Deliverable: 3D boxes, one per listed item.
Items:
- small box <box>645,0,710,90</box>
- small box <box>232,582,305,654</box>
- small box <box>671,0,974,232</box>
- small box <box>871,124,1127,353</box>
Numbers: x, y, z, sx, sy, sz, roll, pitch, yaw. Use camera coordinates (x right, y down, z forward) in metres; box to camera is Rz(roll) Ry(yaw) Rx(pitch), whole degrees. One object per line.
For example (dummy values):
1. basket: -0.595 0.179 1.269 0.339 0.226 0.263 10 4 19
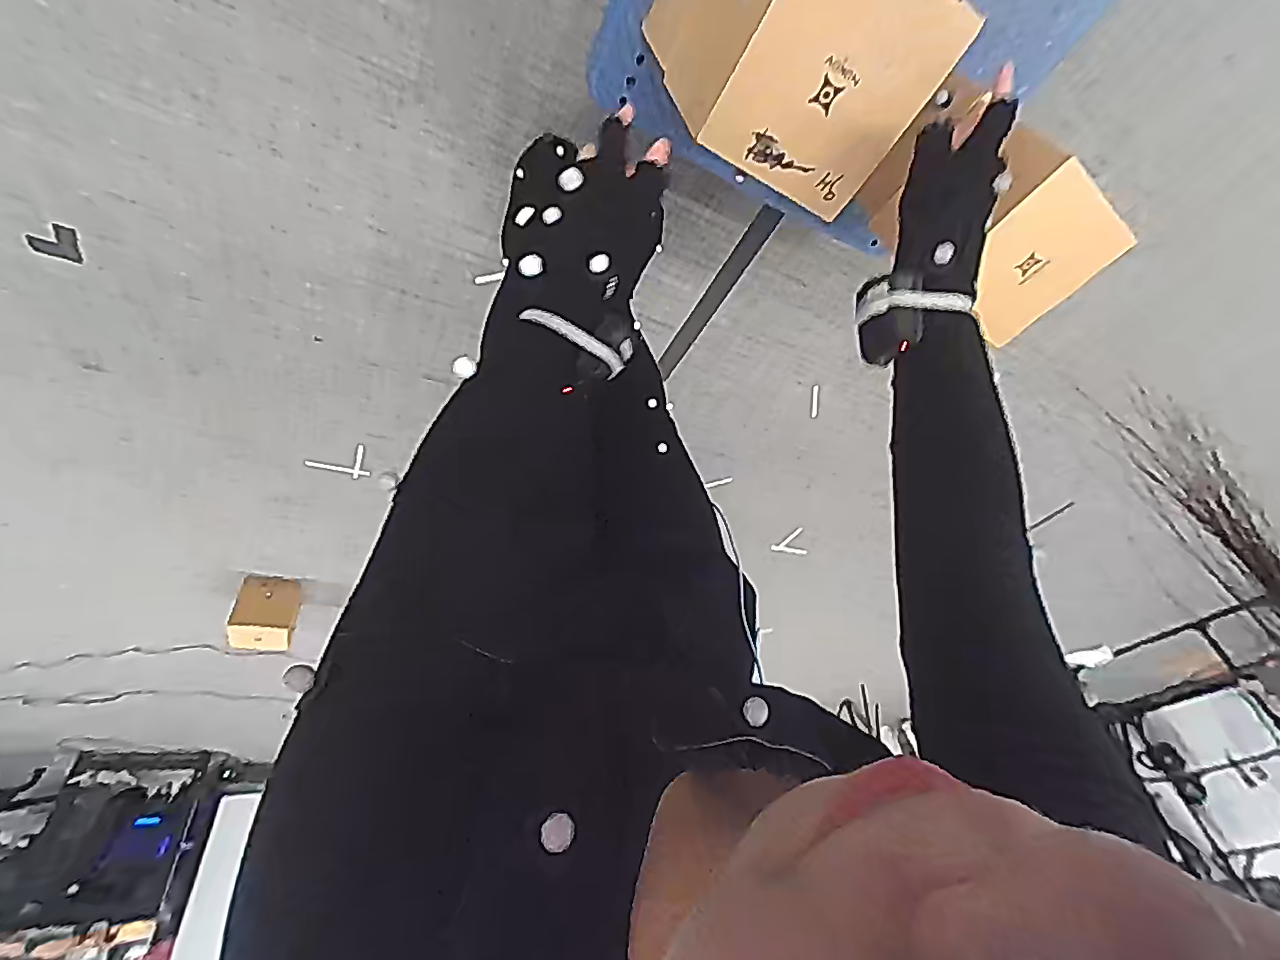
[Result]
1. small box: 0.126 -0.500 0.603 0.179 0.176 0.168 17 134 -28
2. small box: -1.239 0.464 1.813 0.168 0.176 0.179 12 137 -24
3. small box: 0.145 -0.376 0.497 0.168 0.176 0.179 15 134 -27
4. small box: 0.421 -0.295 0.661 0.179 0.176 0.168 17 134 -31
